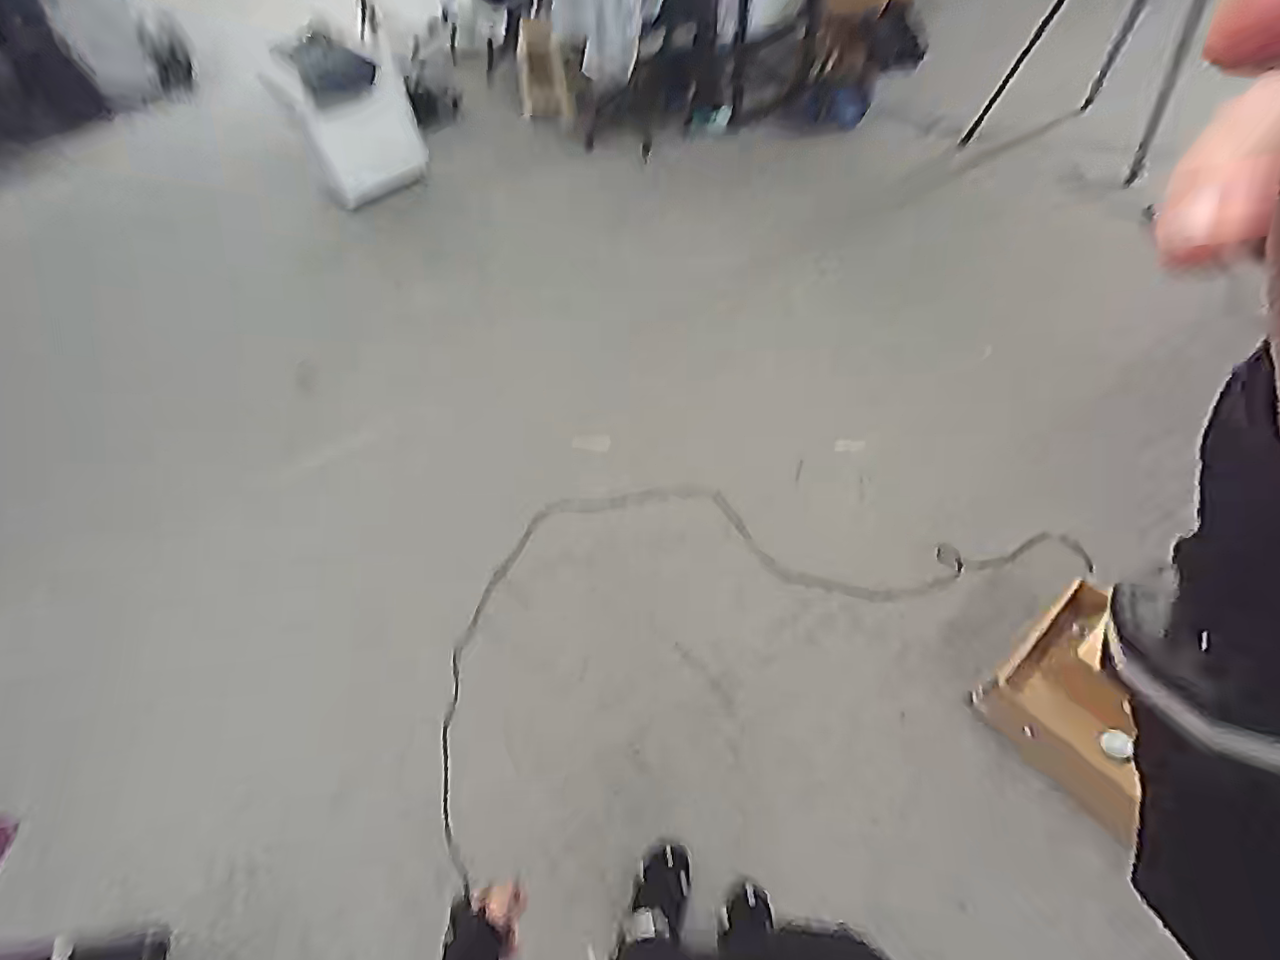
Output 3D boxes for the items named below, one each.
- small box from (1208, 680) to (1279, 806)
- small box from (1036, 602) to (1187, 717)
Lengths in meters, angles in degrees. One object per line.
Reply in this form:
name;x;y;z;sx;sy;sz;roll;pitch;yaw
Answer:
small box;1.245;0.491;1.011;0.179;0.176;0.168;-35;61;-17
small box;1.085;0.424;1.263;0.168;0.176;0.179;-37;63;-17
